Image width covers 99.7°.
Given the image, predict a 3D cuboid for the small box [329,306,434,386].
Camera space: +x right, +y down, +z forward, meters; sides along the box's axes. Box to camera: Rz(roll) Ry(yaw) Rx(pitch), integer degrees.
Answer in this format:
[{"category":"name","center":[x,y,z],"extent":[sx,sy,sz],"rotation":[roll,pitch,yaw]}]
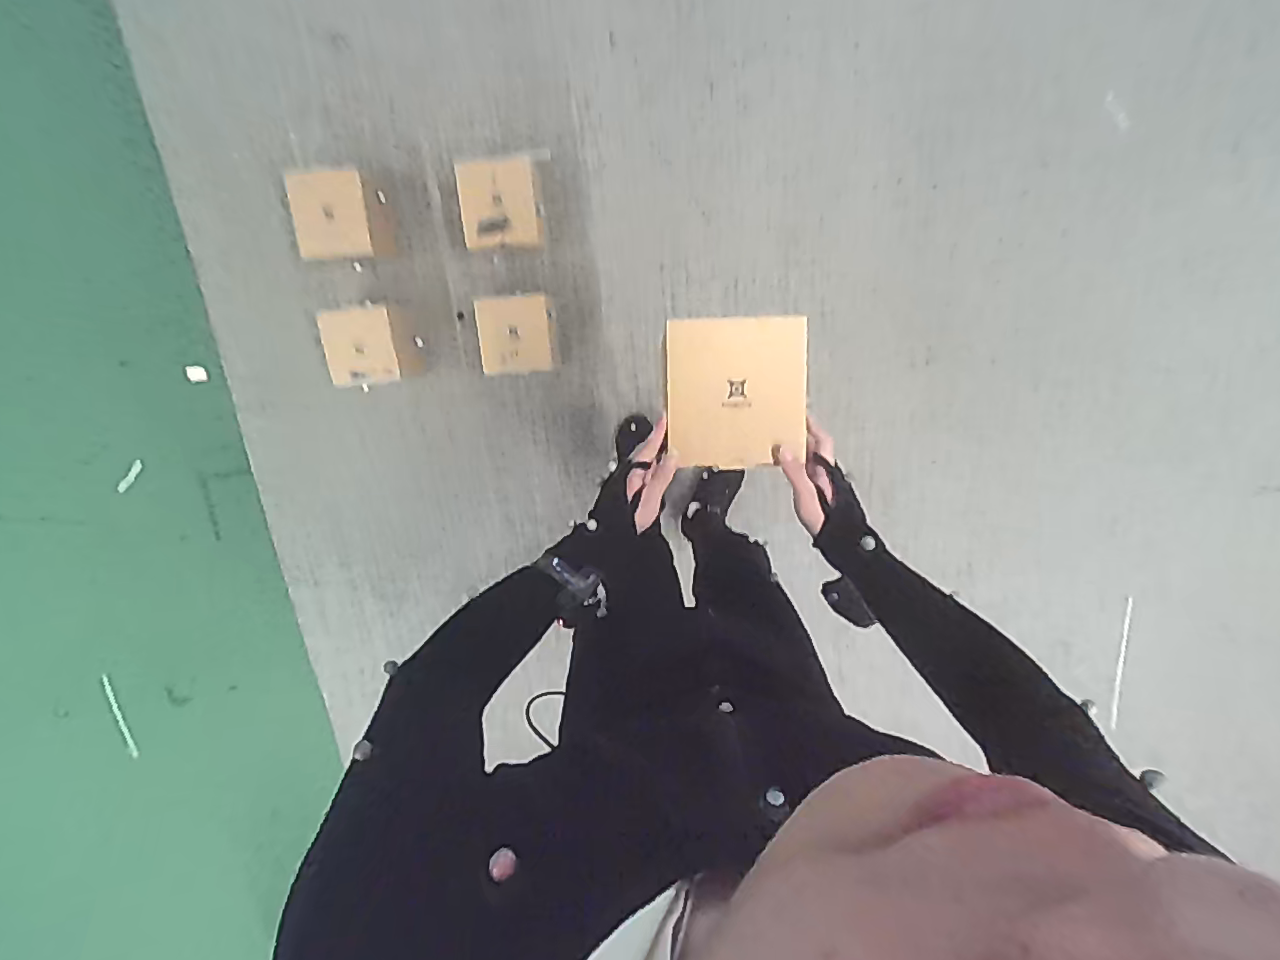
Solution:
[{"category":"small box","center":[-0.638,-0.333,1.353],"extent":[0.168,0.176,0.179],"rotation":[-5,104,2]}]

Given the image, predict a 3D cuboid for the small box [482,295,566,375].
[{"category":"small box","center":[-0.281,-0.358,1.345],"extent":[0.168,0.176,0.179],"rotation":[-4,105,2]}]

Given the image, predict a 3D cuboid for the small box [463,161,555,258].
[{"category":"small box","center":[-0.299,-0.625,1.272],"extent":[0.168,0.176,0.179],"rotation":[-3,104,1]}]

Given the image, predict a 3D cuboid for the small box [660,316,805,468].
[{"category":"small box","center":[0.111,-0.109,0.709],"extent":[0.168,0.176,0.179],"rotation":[-1,97,2]}]
